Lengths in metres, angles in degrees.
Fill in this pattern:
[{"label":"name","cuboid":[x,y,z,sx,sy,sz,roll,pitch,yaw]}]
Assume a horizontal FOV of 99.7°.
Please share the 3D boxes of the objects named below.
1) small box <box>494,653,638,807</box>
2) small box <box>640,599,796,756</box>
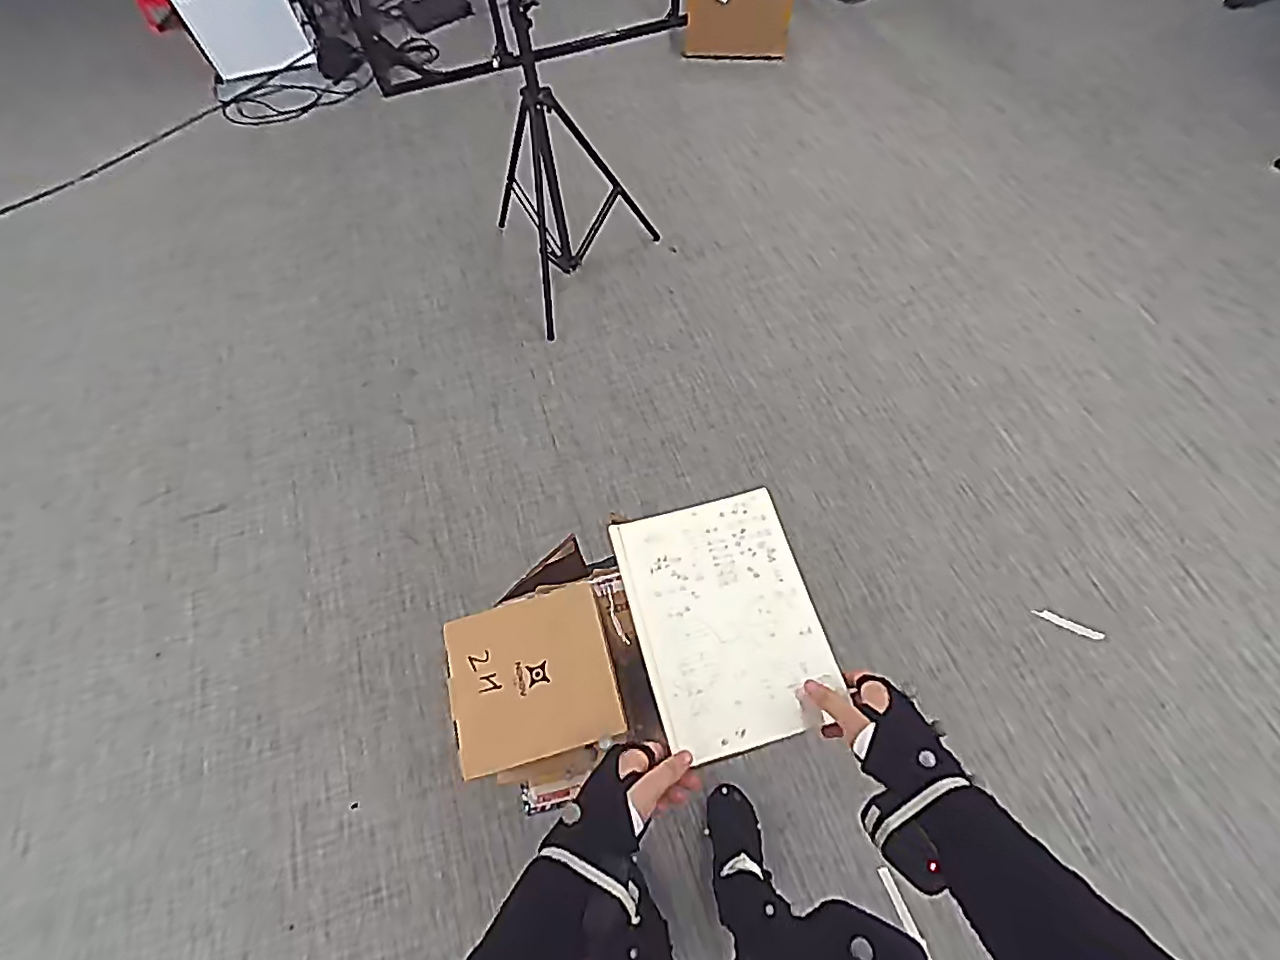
[{"label":"small box","cuboid":[-0.101,0.361,0.798,0.179,0.176,0.168,-12,66,-1]},{"label":"small box","cuboid":[0.105,0.299,0.820,0.179,0.176,0.168,-18,66,-8]}]
